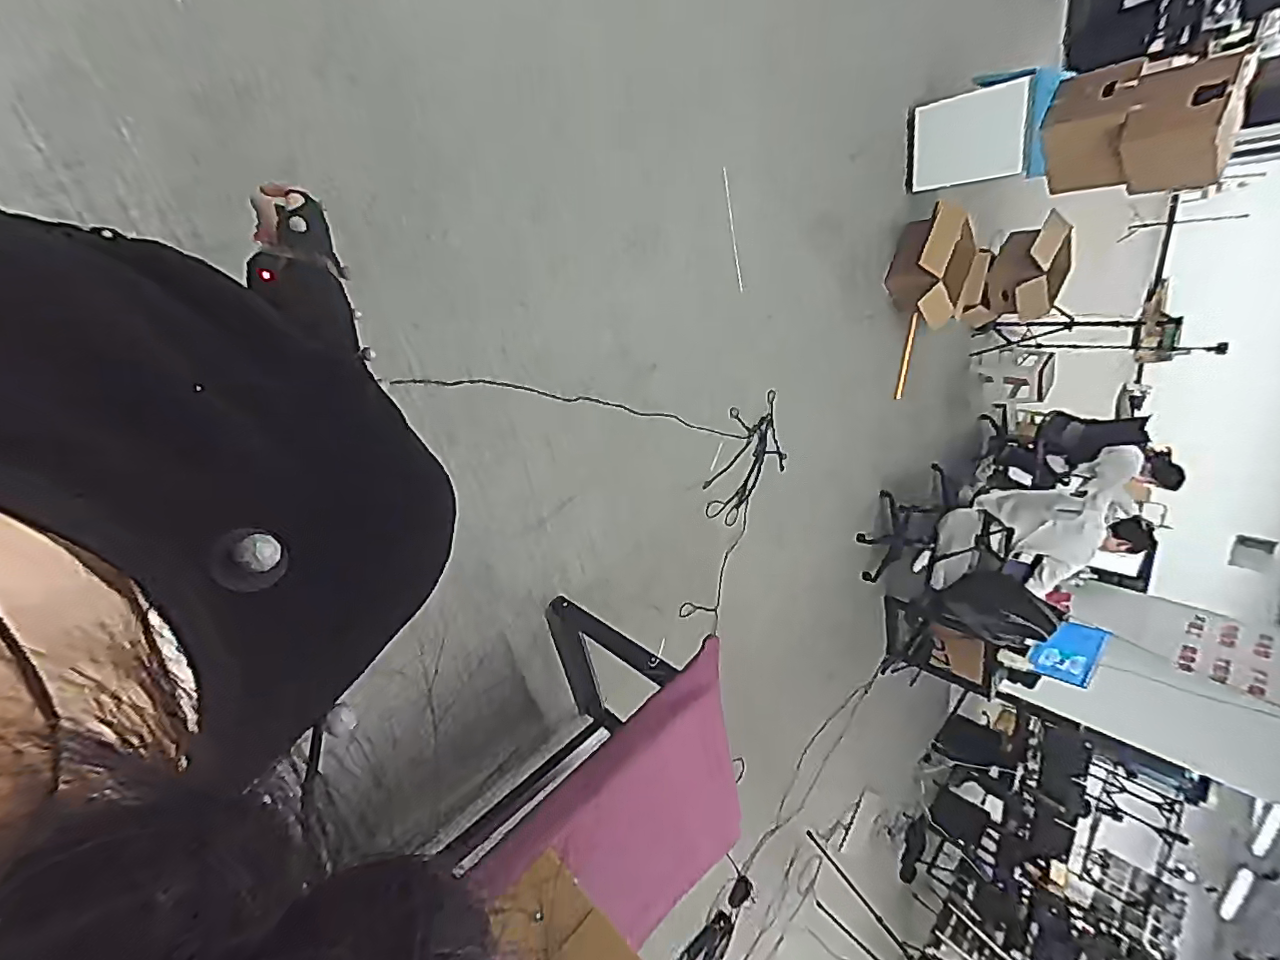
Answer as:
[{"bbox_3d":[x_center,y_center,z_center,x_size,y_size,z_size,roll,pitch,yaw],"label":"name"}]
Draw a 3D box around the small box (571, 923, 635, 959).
[{"bbox_3d":[-0.061,0.932,0.924,0.179,0.176,0.168,-31,122,-34],"label":"small box"}]
